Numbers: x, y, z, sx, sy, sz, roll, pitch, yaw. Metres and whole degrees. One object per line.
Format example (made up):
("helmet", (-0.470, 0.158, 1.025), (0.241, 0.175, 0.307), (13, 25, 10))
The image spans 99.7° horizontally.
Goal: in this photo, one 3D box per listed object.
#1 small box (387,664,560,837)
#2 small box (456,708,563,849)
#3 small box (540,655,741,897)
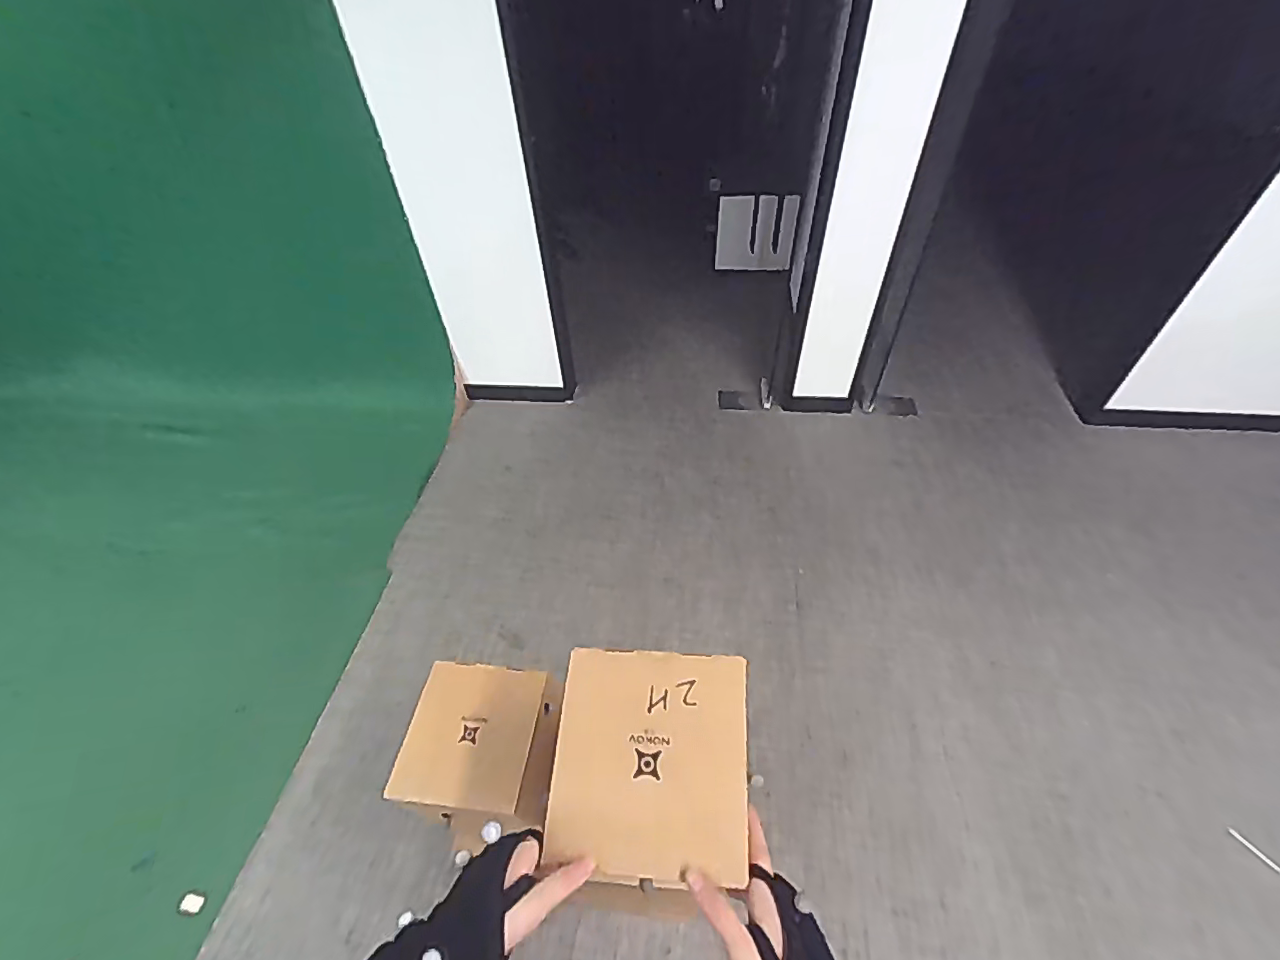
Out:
("small box", (-0.217, 0.385, 0.766), (0.168, 0.176, 0.179), (4, 48, 5))
("small box", (-0.210, 0.486, 0.894), (0.168, 0.176, 0.179), (5, 49, 6))
("small box", (0.016, 0.288, 0.538), (0.168, 0.176, 0.179), (1, 57, 9))
